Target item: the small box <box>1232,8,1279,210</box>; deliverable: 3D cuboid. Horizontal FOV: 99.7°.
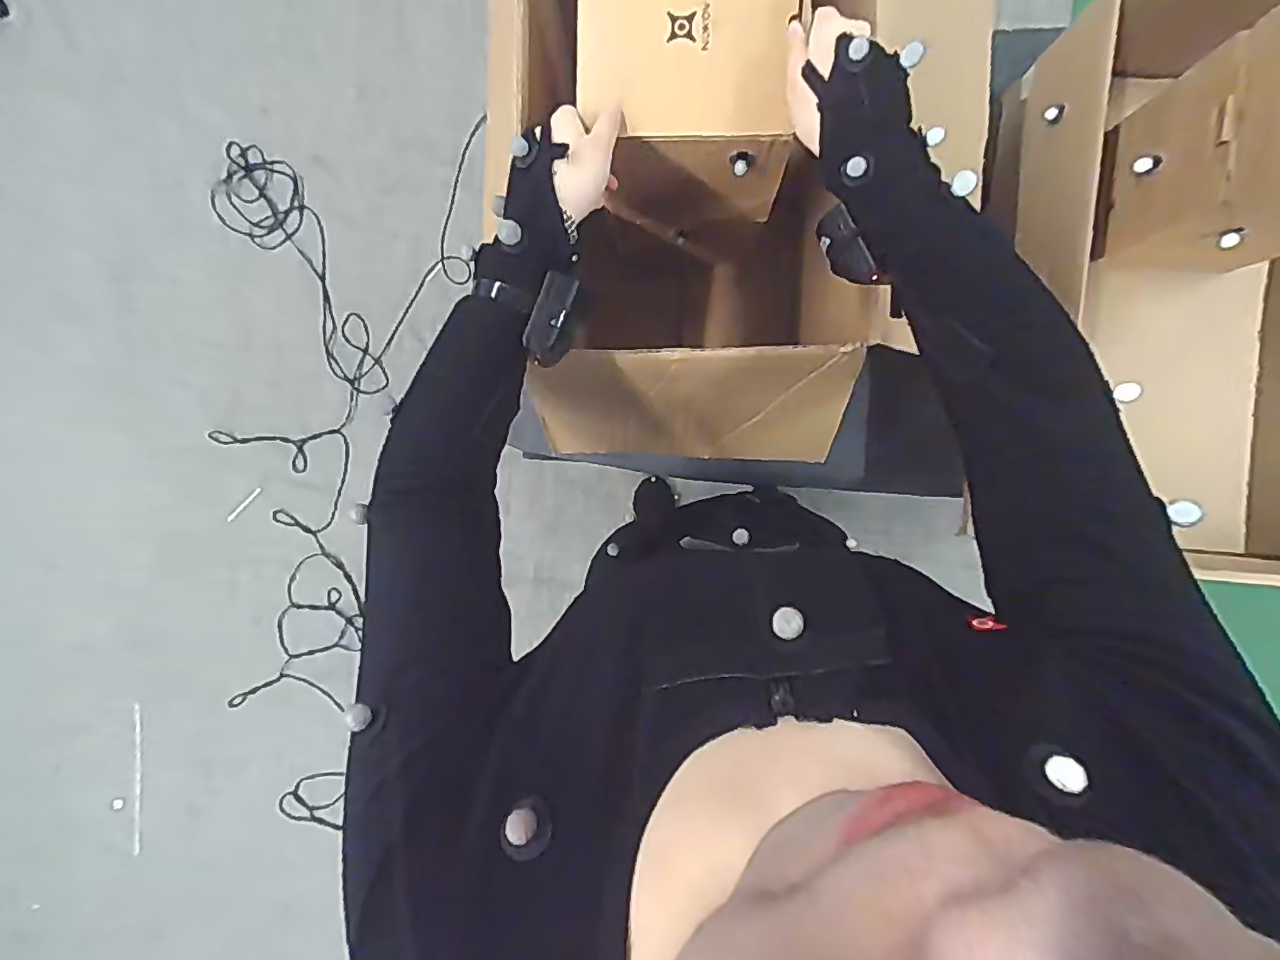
[{"bbox_3d":[0.646,-0.339,0.432,0.168,0.176,0.179,4,94,4],"label":"small box"}]
